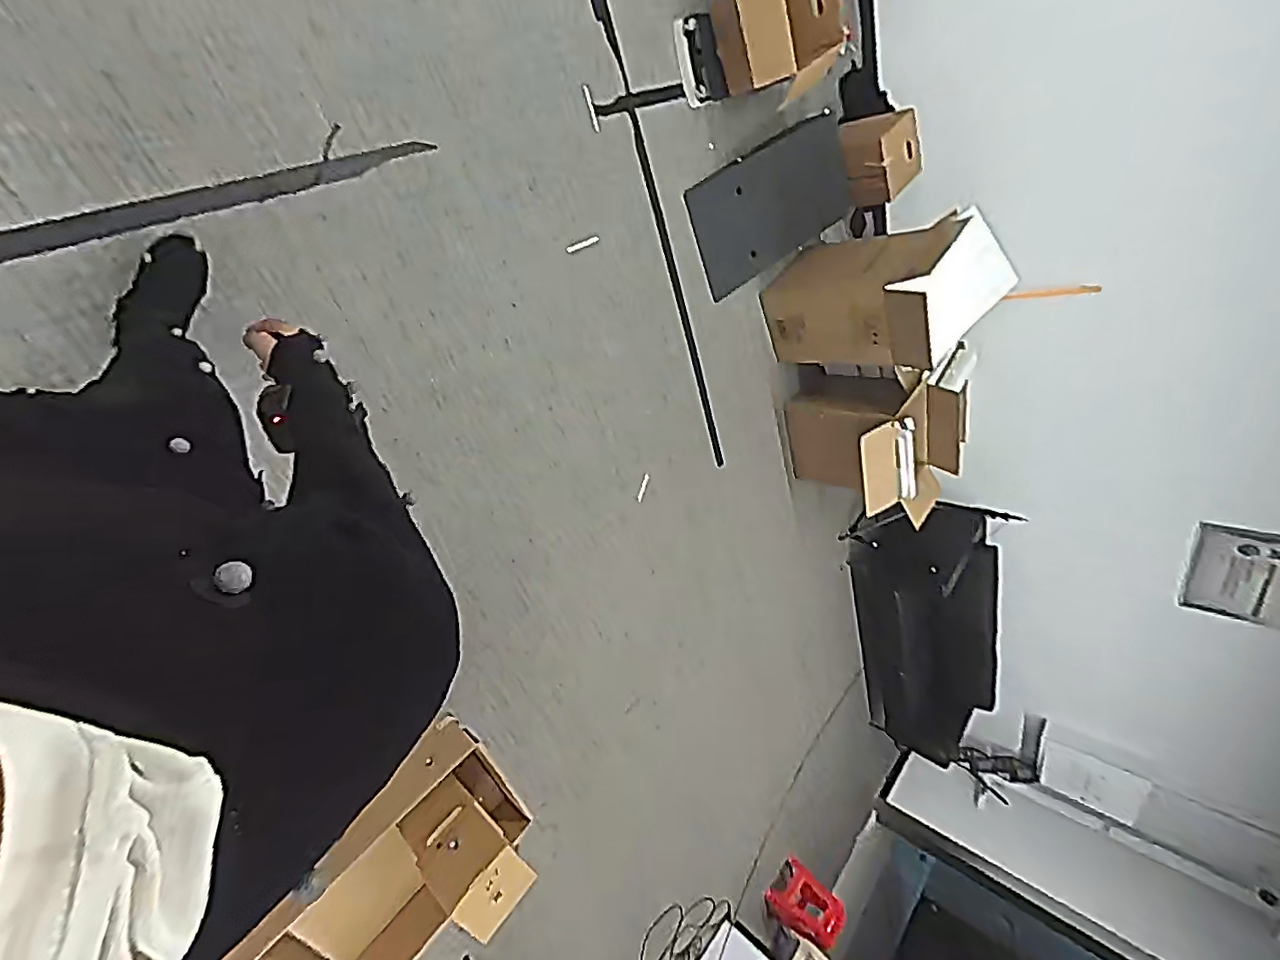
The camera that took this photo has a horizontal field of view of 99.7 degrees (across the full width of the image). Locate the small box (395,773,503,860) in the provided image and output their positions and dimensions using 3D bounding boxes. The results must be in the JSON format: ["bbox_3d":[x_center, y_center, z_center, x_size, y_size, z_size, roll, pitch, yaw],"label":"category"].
[{"bbox_3d":[-0.491,0.892,1.386,0.168,0.176,0.179,-41,127,-32],"label":"small box"}]

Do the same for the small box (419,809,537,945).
[{"bbox_3d":[-0.380,0.921,1.268,0.168,0.176,0.179,-42,127,-31],"label":"small box"}]
